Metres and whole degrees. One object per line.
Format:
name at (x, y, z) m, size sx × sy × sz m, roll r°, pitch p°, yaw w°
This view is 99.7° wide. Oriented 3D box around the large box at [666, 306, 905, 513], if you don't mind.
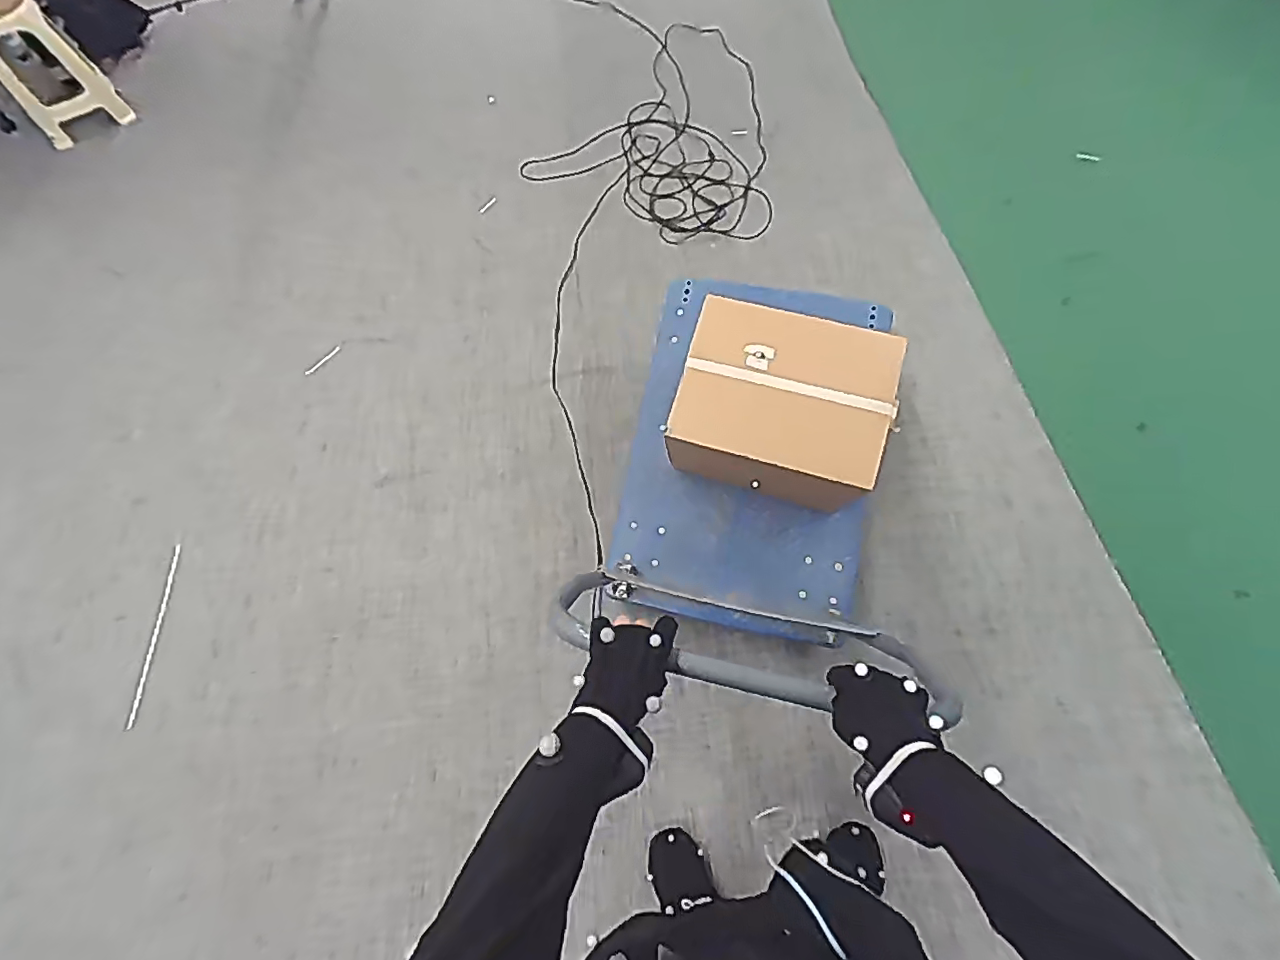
large box at (0.302, -0.136, 1.194) m, size 0.408 × 0.320 × 0.320 m, roll 16°, pitch 81°, yaw 10°
